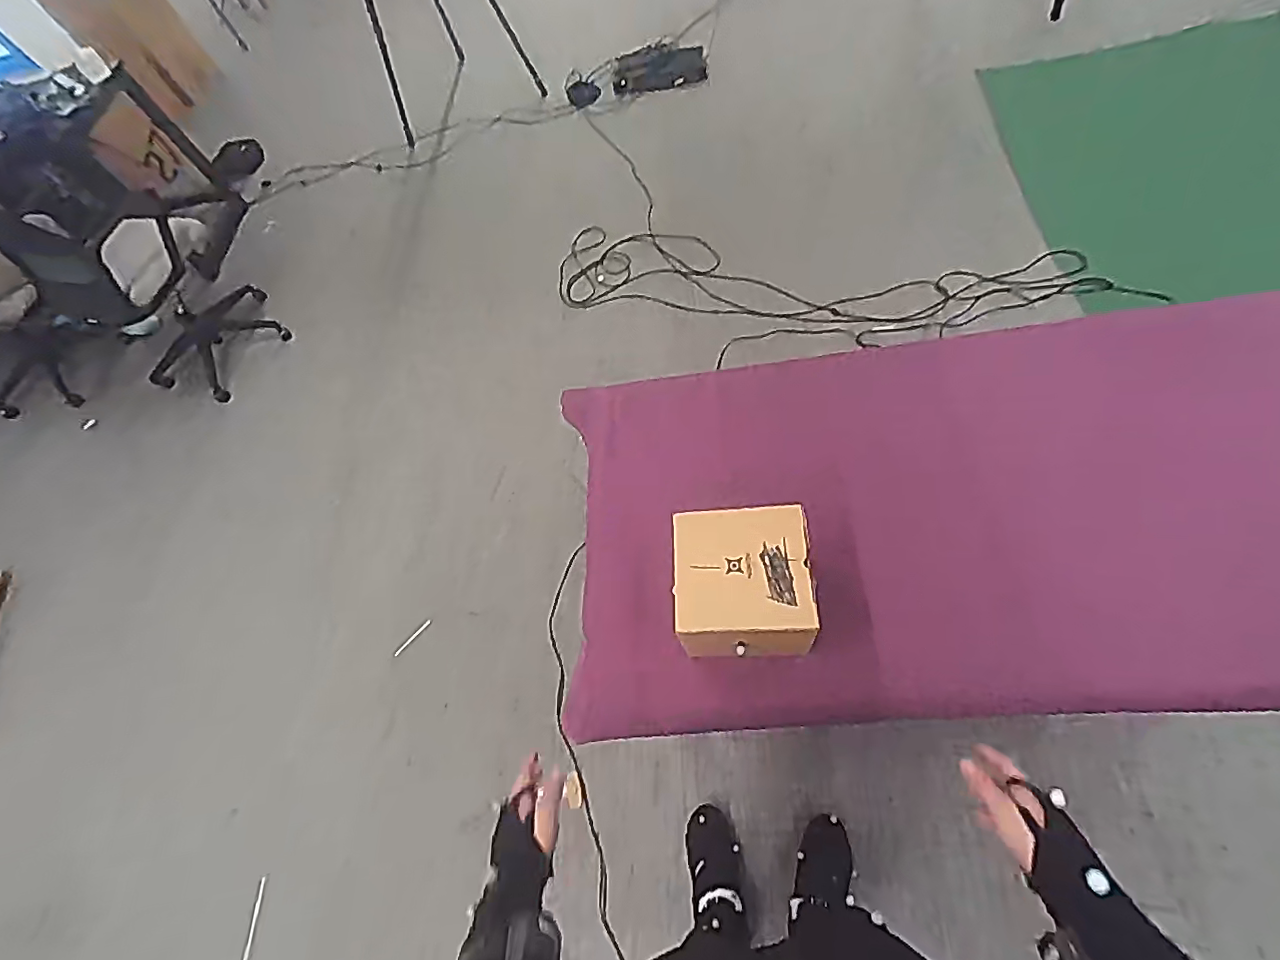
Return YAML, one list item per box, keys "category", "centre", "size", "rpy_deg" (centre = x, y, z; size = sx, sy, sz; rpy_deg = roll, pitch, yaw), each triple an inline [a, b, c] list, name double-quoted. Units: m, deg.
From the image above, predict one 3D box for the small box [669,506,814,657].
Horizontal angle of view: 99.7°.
- category: "small box"
  centre: [0.139, 0.148, 0.758]
  size: [0.179, 0.176, 0.168]
  rpy_deg: [-5, 61, 11]

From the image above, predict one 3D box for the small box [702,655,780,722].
- category: "small box"
  centre: [0.259, 0.520, 1.377]
  size: [0.179, 0.176, 0.168]
  rpy_deg: [-7, 62, 9]
